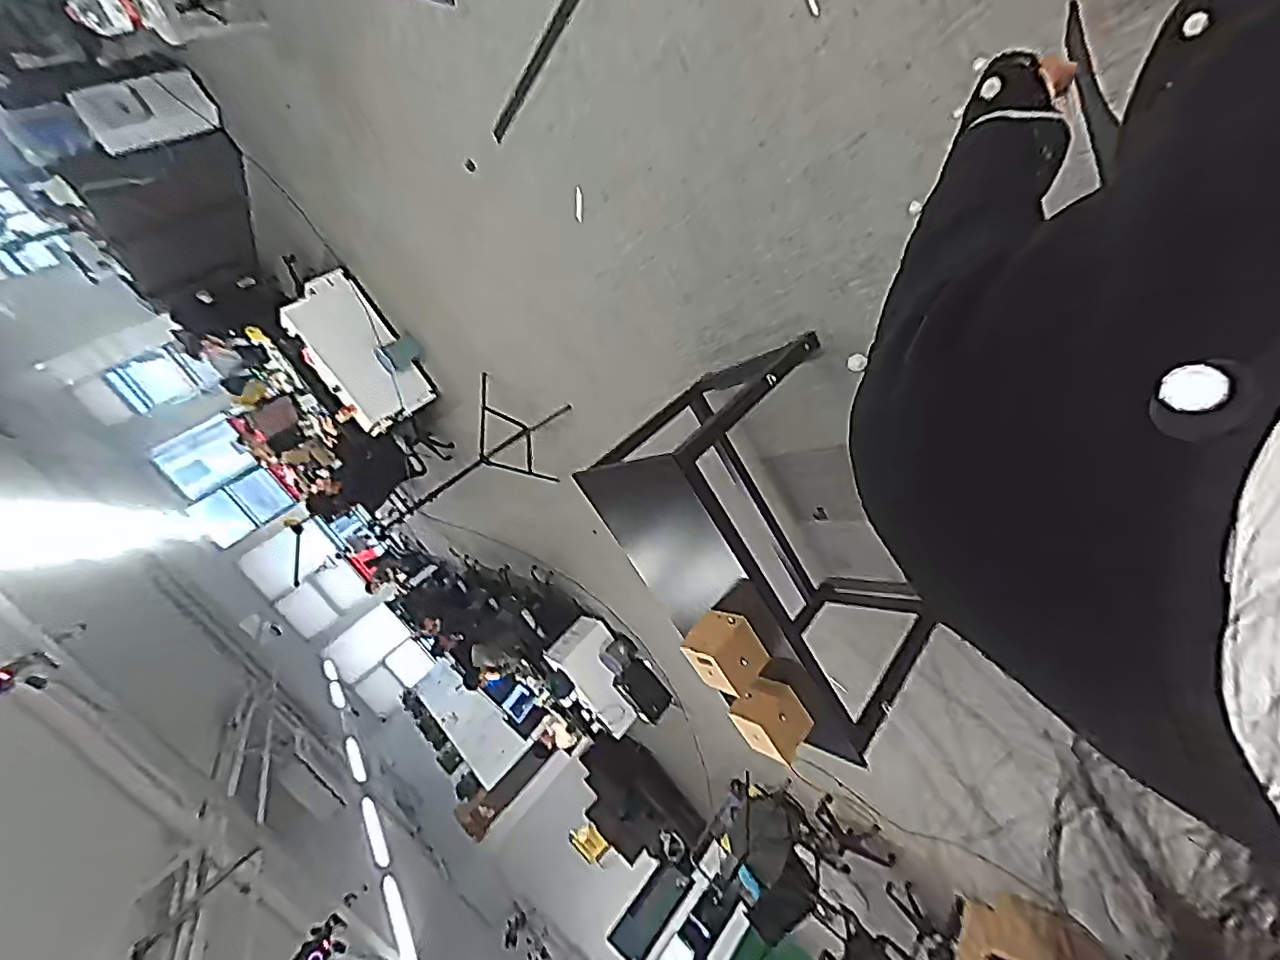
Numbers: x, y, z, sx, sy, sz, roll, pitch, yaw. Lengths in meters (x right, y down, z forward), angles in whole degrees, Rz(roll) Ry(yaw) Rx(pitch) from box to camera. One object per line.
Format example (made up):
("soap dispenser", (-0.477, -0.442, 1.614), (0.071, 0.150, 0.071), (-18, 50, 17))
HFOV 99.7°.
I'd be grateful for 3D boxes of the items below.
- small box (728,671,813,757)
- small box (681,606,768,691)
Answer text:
("small box", (0.428, 0.757, 1.770), (0.179, 0.176, 0.168), (55, 153, -14))
("small box", (0.268, 0.520, 1.696), (0.168, 0.176, 0.179), (-5, 123, 57))
